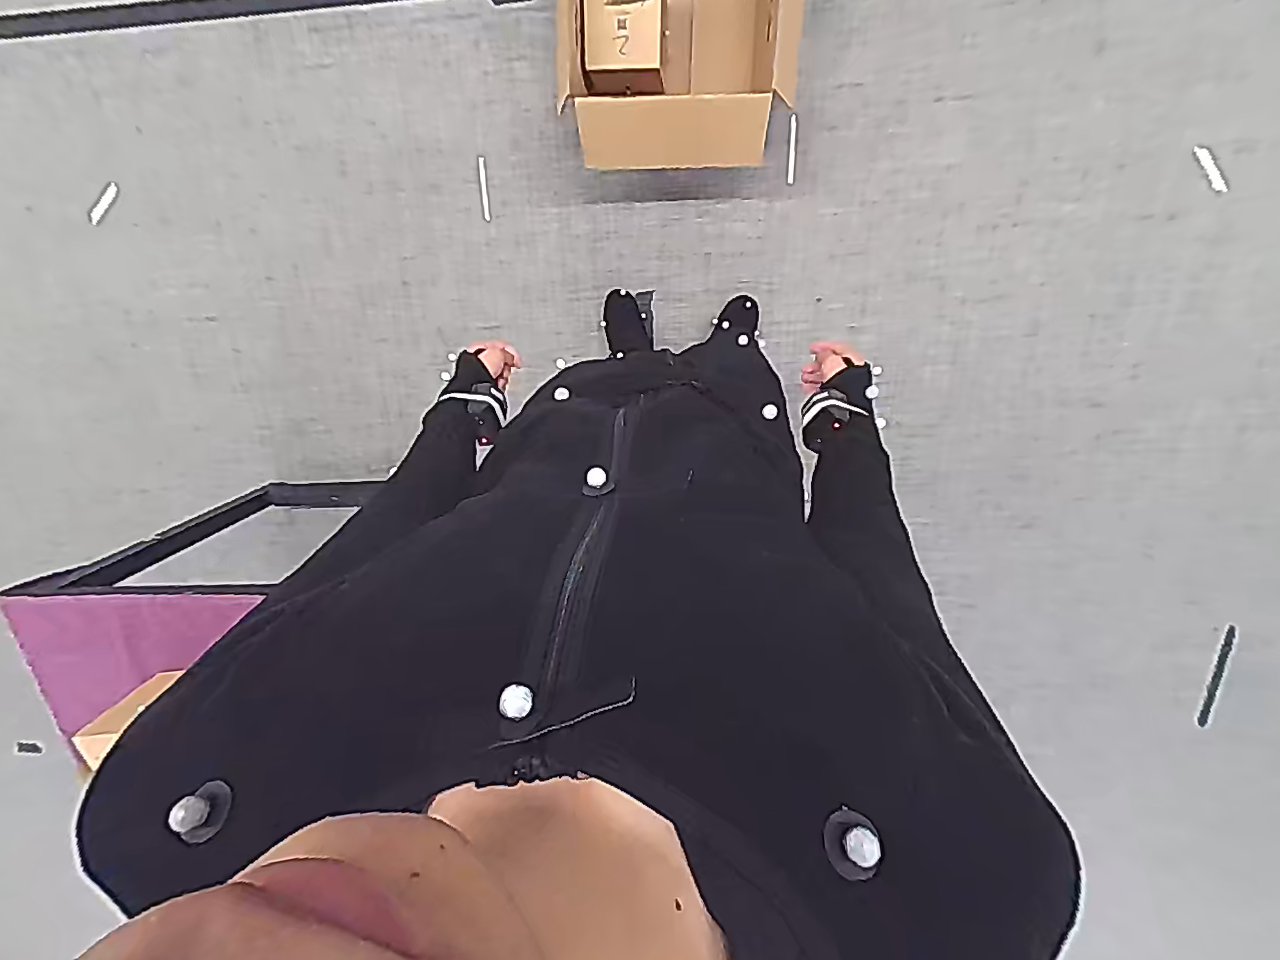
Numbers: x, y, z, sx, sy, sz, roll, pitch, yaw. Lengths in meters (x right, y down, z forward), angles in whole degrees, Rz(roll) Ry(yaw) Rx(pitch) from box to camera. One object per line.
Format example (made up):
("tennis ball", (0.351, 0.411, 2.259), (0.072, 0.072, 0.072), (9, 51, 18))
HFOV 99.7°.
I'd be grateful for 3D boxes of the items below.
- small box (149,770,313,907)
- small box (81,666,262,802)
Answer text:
("small box", (-0.829, 0.733, 1.115), (0.179, 0.176, 0.168), (-11, 109, 8))
("small box", (-0.865, 0.474, 1.025), (0.179, 0.176, 0.168), (-8, 108, 7))
